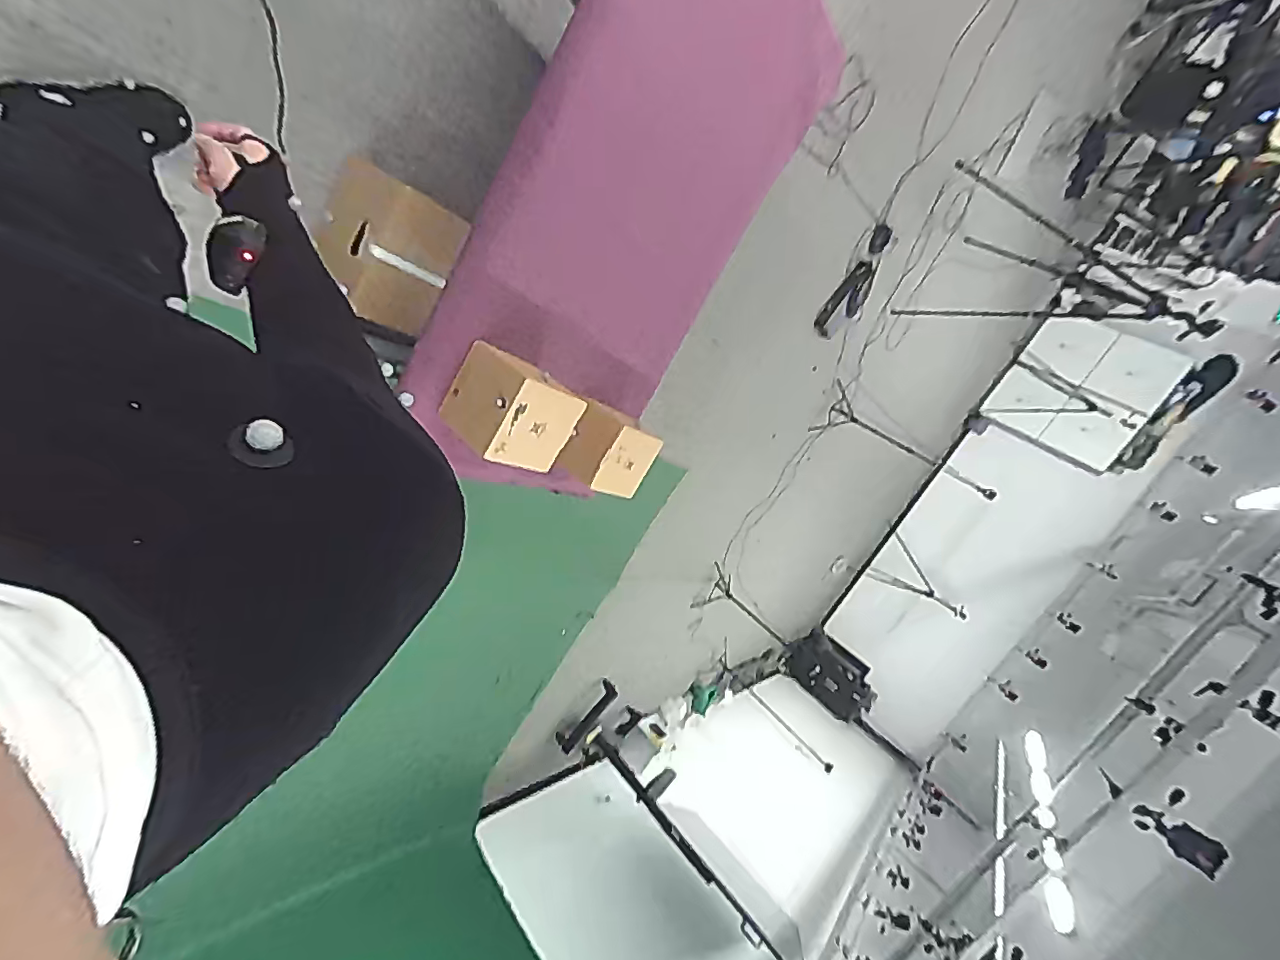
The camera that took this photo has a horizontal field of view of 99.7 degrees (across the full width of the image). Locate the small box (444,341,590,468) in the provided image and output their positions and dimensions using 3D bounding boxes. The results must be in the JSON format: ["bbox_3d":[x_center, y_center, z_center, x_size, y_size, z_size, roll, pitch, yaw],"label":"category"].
[{"bbox_3d":[-0.237,-0.144,1.044,0.168,0.176,0.179,-59,150,10],"label":"small box"}]

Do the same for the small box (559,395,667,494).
[{"bbox_3d":[-0.073,-0.086,1.306,0.179,0.176,0.168,17,107,-55],"label":"small box"}]
